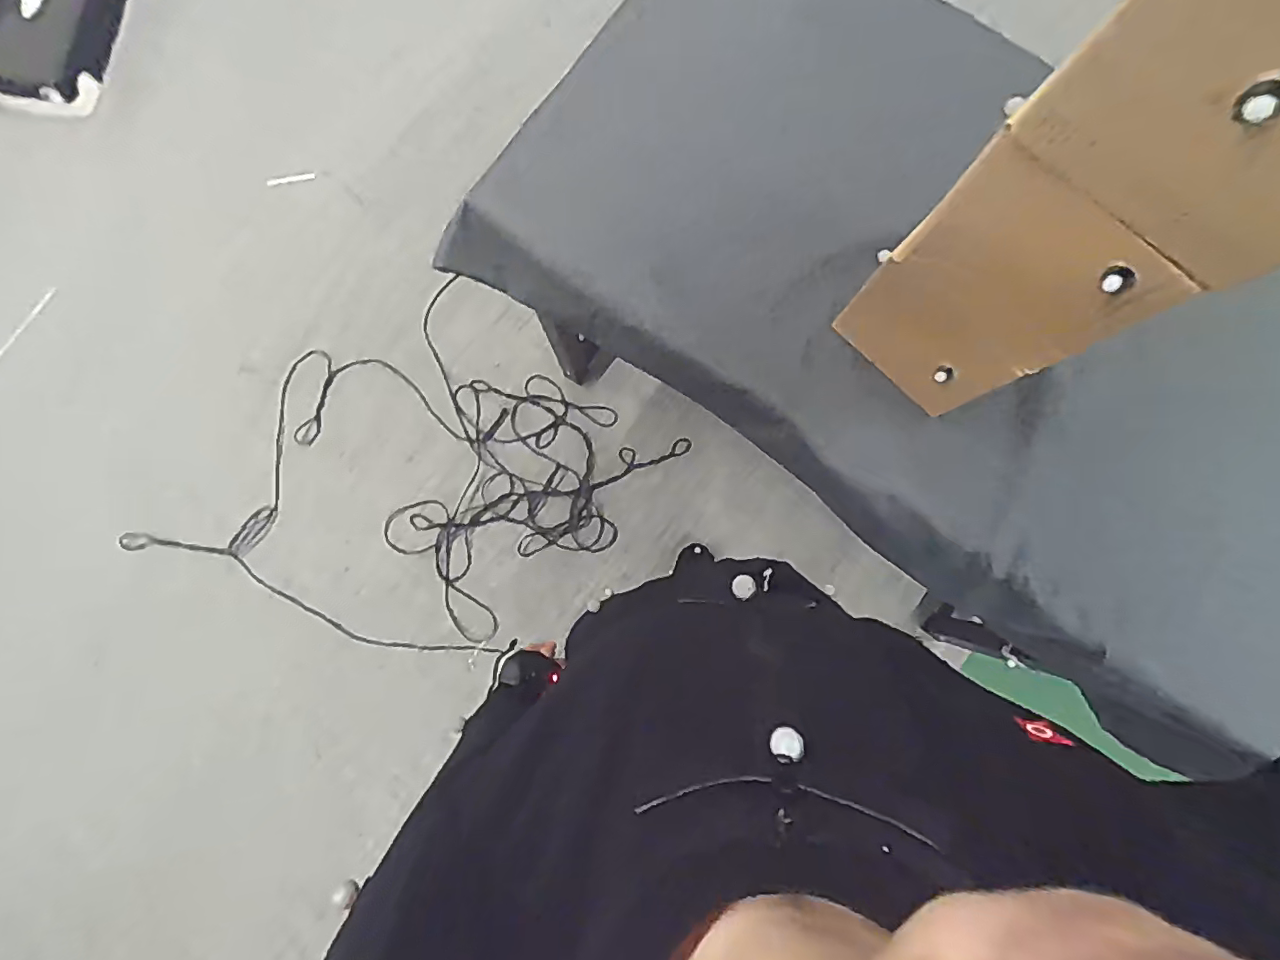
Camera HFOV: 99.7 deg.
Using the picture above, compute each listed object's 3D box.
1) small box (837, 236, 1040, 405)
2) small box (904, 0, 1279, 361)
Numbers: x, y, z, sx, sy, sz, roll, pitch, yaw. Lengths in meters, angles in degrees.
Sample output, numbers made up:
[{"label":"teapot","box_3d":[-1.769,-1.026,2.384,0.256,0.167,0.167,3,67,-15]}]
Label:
[{"label":"small box","box_3d":[0.363,-0.205,0.611,0.179,0.176,0.168,44,84,6]},{"label":"small box","box_3d":[0.366,-0.230,0.451,0.179,0.176,0.168,44,84,4]}]
